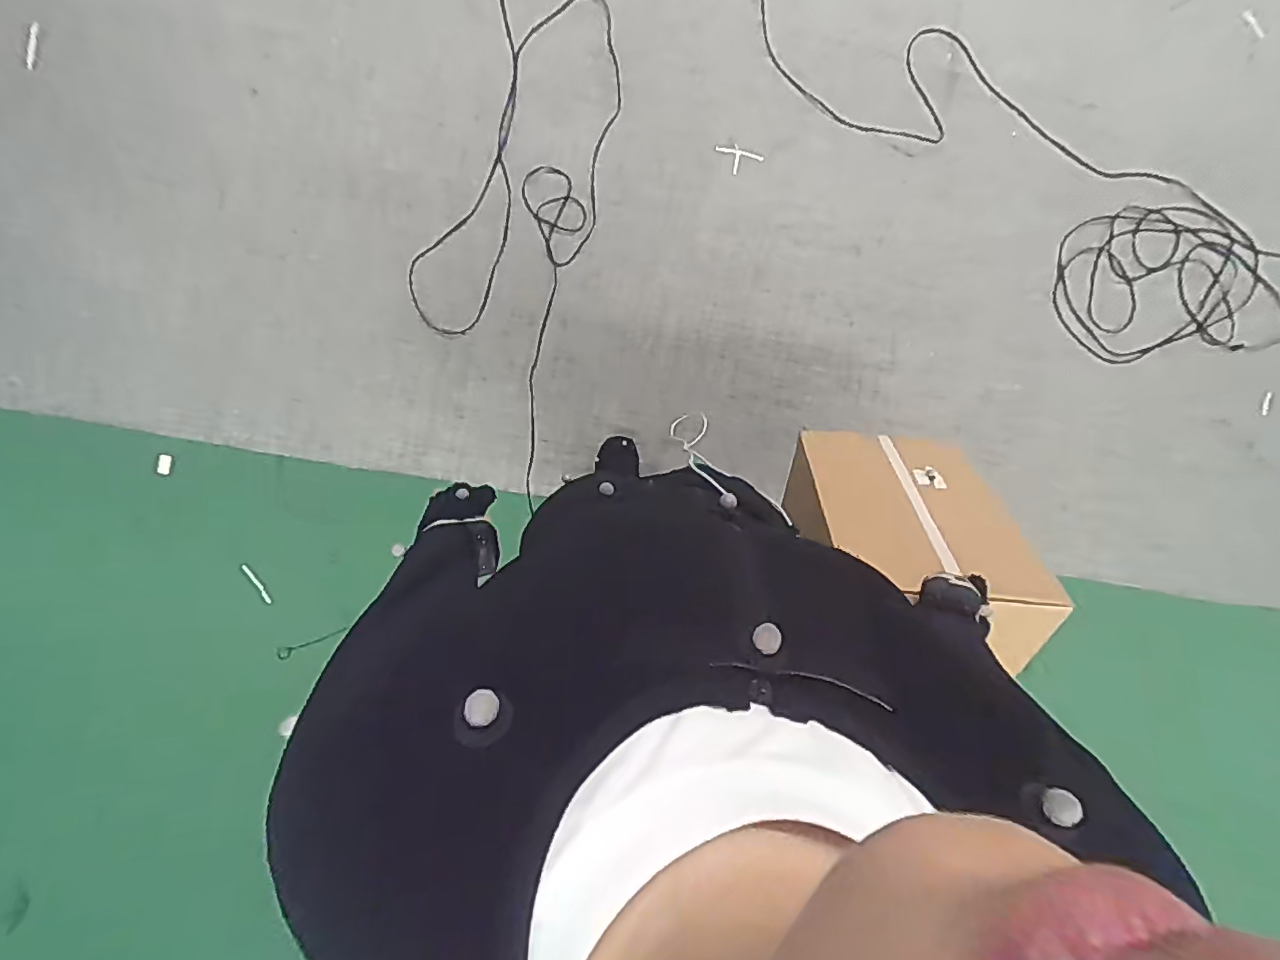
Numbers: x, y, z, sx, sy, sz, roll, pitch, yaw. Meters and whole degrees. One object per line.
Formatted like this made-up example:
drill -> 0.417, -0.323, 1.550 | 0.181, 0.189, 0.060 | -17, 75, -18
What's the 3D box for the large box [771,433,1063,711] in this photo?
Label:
large box -> 0.444, 0.158, 0.997 | 0.320, 0.408, 0.320 | 5, 128, 1
